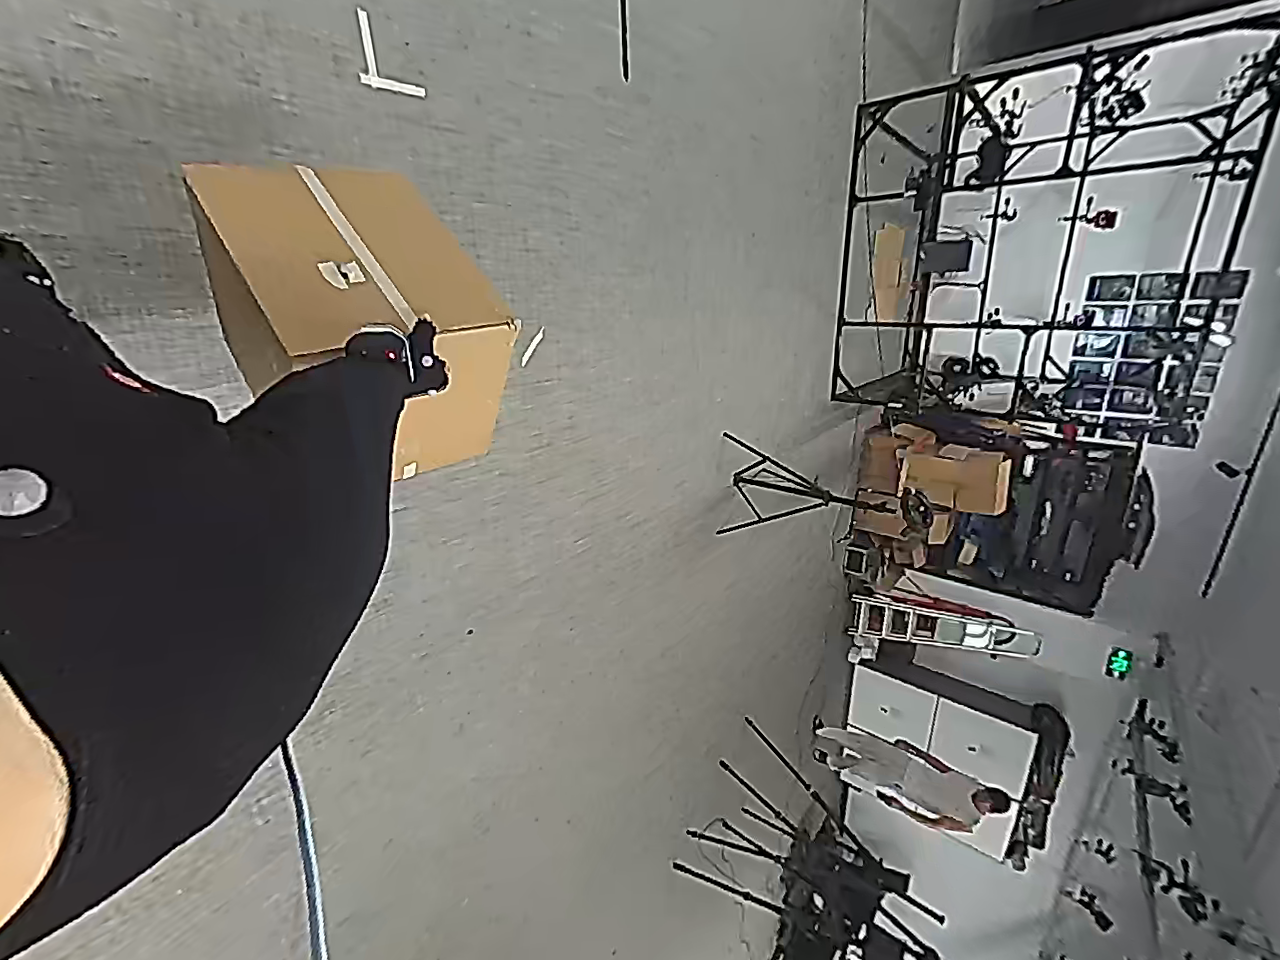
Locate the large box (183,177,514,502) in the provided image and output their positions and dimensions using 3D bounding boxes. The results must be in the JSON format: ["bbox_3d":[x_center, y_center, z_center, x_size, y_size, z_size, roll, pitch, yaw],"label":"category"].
[{"bbox_3d":[-0.479,-0.241,0.910,0.320,0.408,0.320,-25,158,-39],"label":"large box"}]
